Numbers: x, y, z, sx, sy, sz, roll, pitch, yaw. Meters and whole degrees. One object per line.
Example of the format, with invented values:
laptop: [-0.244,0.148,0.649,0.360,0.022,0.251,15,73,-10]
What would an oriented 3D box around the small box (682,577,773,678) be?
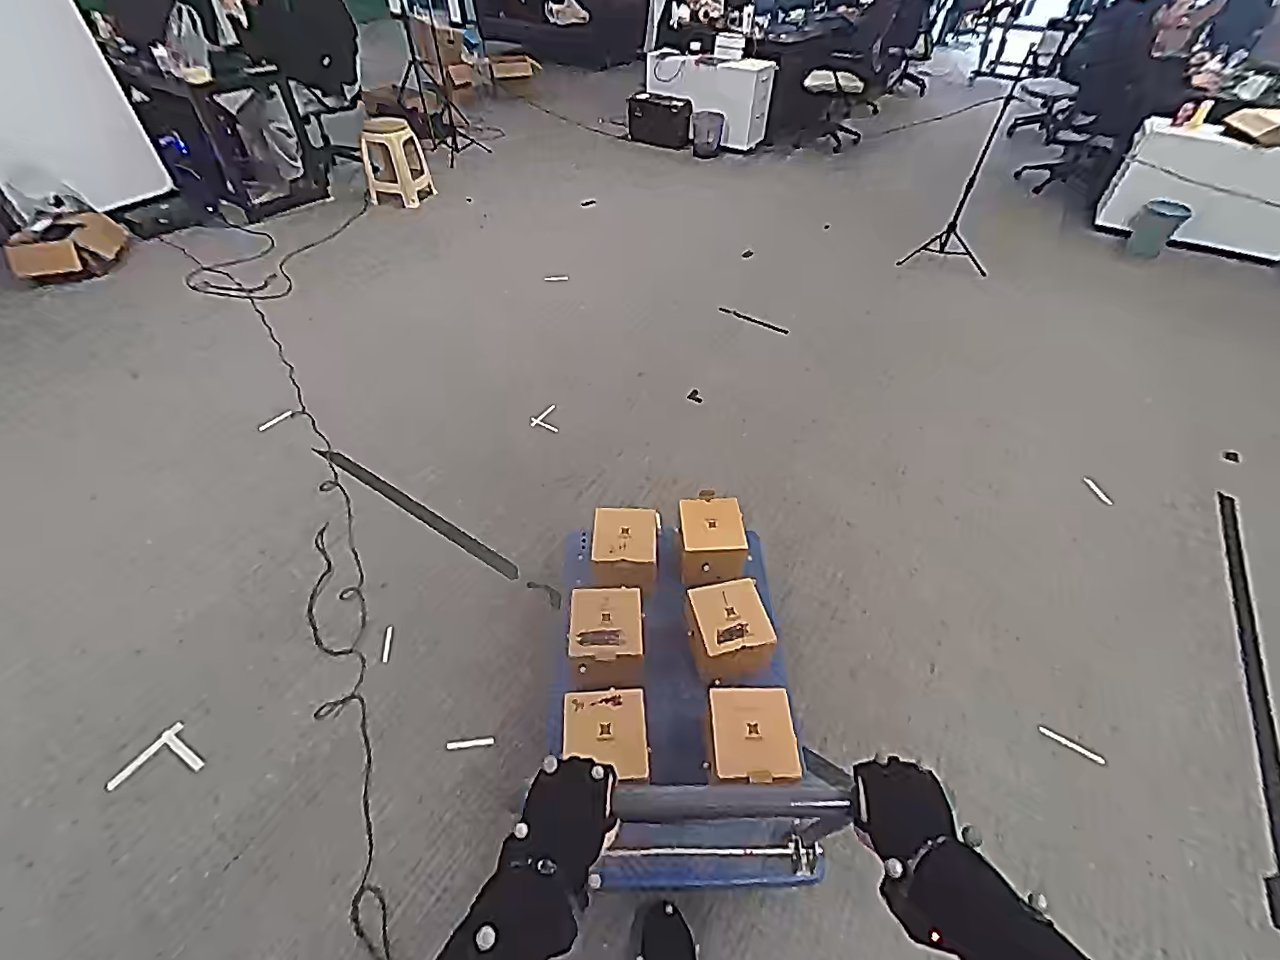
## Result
small box: [0.207,0.368,1.327,0.168,0.176,0.179,-9,47,-9]

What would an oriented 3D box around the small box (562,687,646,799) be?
small box: [-0.074,0.558,1.139,0.168,0.176,0.179,-2,47,-4]

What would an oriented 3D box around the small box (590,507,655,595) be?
small box: [-0.046,0.195,1.480,0.168,0.176,0.179,1,48,0]

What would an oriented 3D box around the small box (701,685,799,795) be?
small box: [0.224,0.557,1.152,0.168,0.176,0.179,1,46,-1]

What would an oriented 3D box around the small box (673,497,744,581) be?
small box: [0.186,0.170,1.513,0.168,0.176,0.179,-2,47,-3]
